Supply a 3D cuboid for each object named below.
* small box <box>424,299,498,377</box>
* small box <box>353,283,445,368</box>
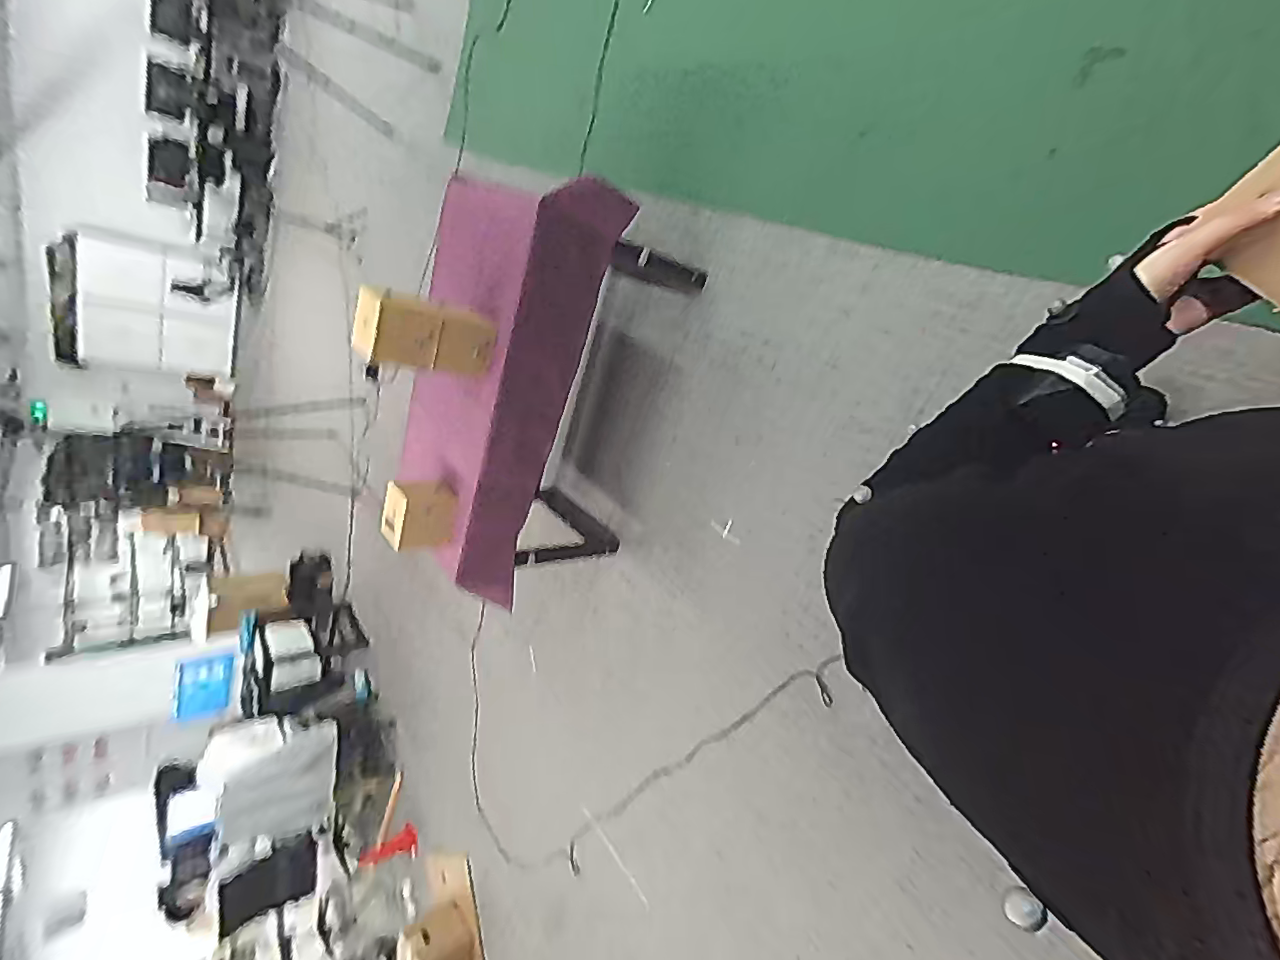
[{"bbox_3d":[-0.548,-0.416,1.602,0.179,0.176,0.168,37,116,39],"label":"small box"},{"bbox_3d":[-0.663,-0.419,1.487,0.179,0.176,0.168,37,115,38],"label":"small box"}]
